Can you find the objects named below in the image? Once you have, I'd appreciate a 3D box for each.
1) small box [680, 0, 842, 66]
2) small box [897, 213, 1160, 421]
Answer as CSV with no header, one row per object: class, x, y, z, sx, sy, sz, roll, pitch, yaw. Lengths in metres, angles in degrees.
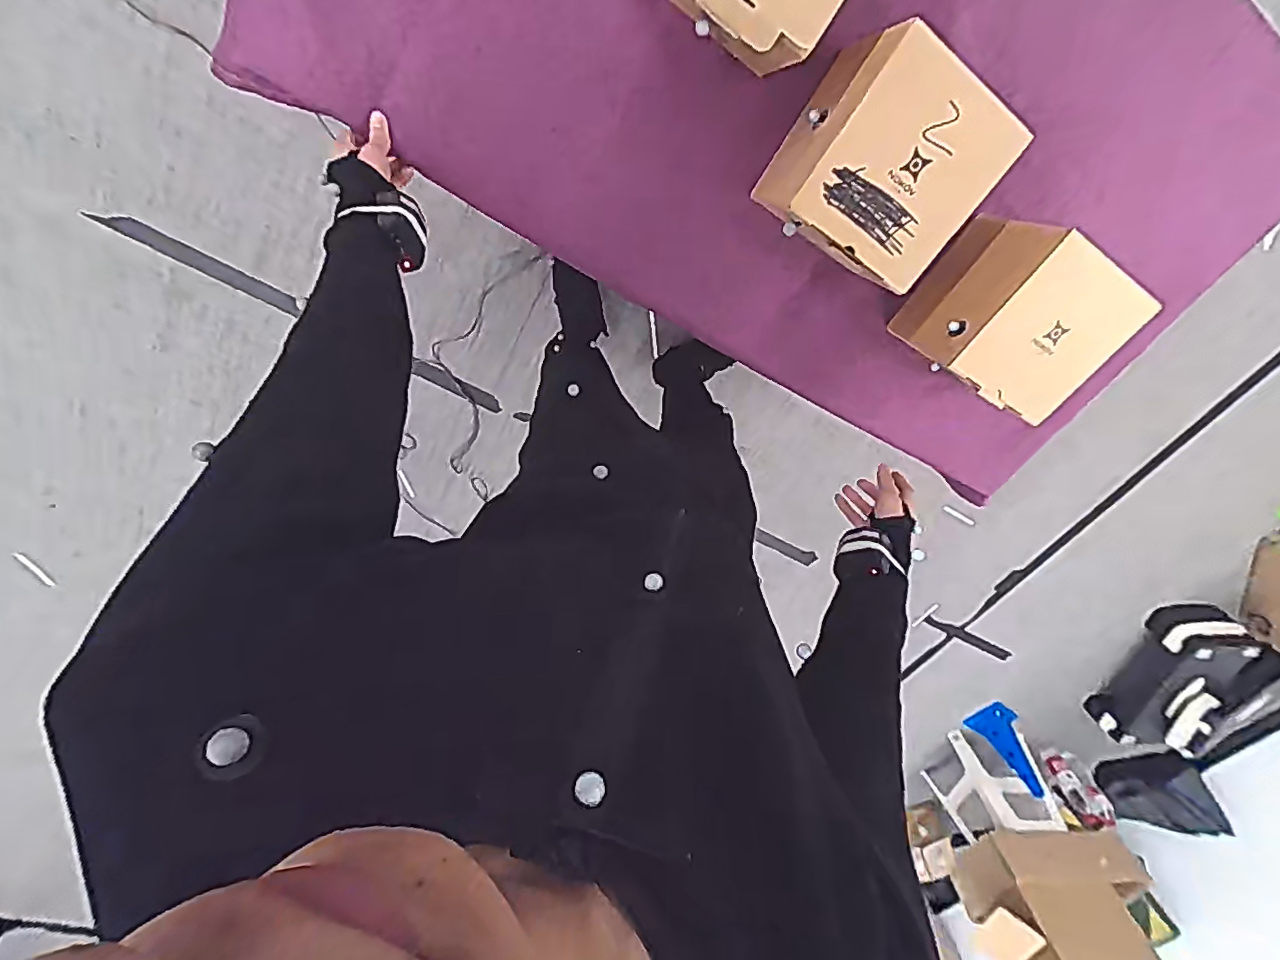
small box,0.120,-0.511,0.473,0.168,0.176,0.179,27,117,-19
small box,0.472,-0.212,0.688,0.168,0.176,0.179,25,118,-18
